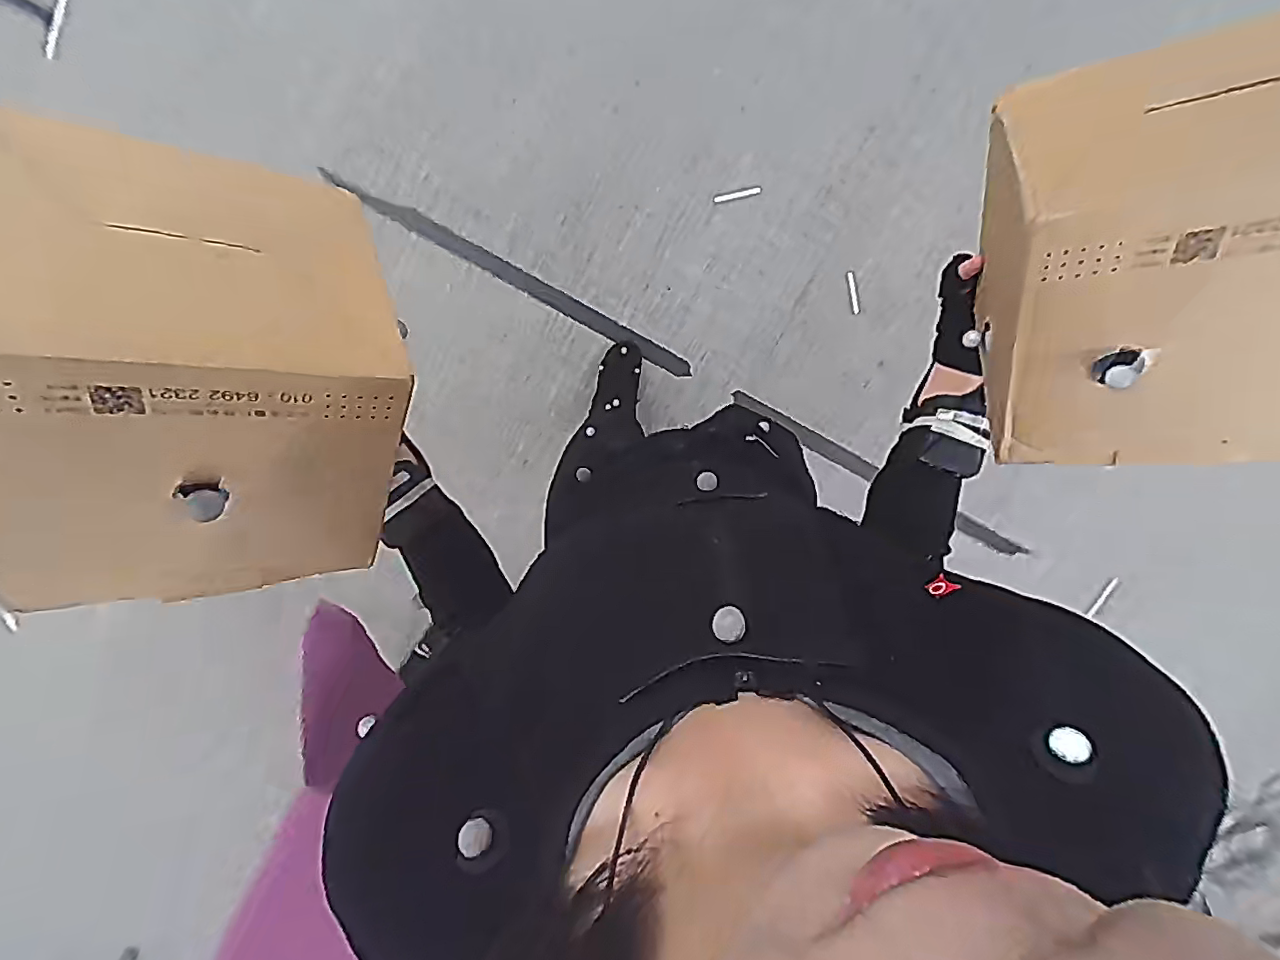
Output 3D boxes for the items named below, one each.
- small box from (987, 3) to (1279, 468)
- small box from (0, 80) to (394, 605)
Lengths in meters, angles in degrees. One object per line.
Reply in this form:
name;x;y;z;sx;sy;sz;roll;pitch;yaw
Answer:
small box;0.299;-0.125;0.292;0.168;0.179;0.176;1;140;26
small box;-0.236;-0.065;0.280;0.168;0.179;0.176;-3;141;-37
